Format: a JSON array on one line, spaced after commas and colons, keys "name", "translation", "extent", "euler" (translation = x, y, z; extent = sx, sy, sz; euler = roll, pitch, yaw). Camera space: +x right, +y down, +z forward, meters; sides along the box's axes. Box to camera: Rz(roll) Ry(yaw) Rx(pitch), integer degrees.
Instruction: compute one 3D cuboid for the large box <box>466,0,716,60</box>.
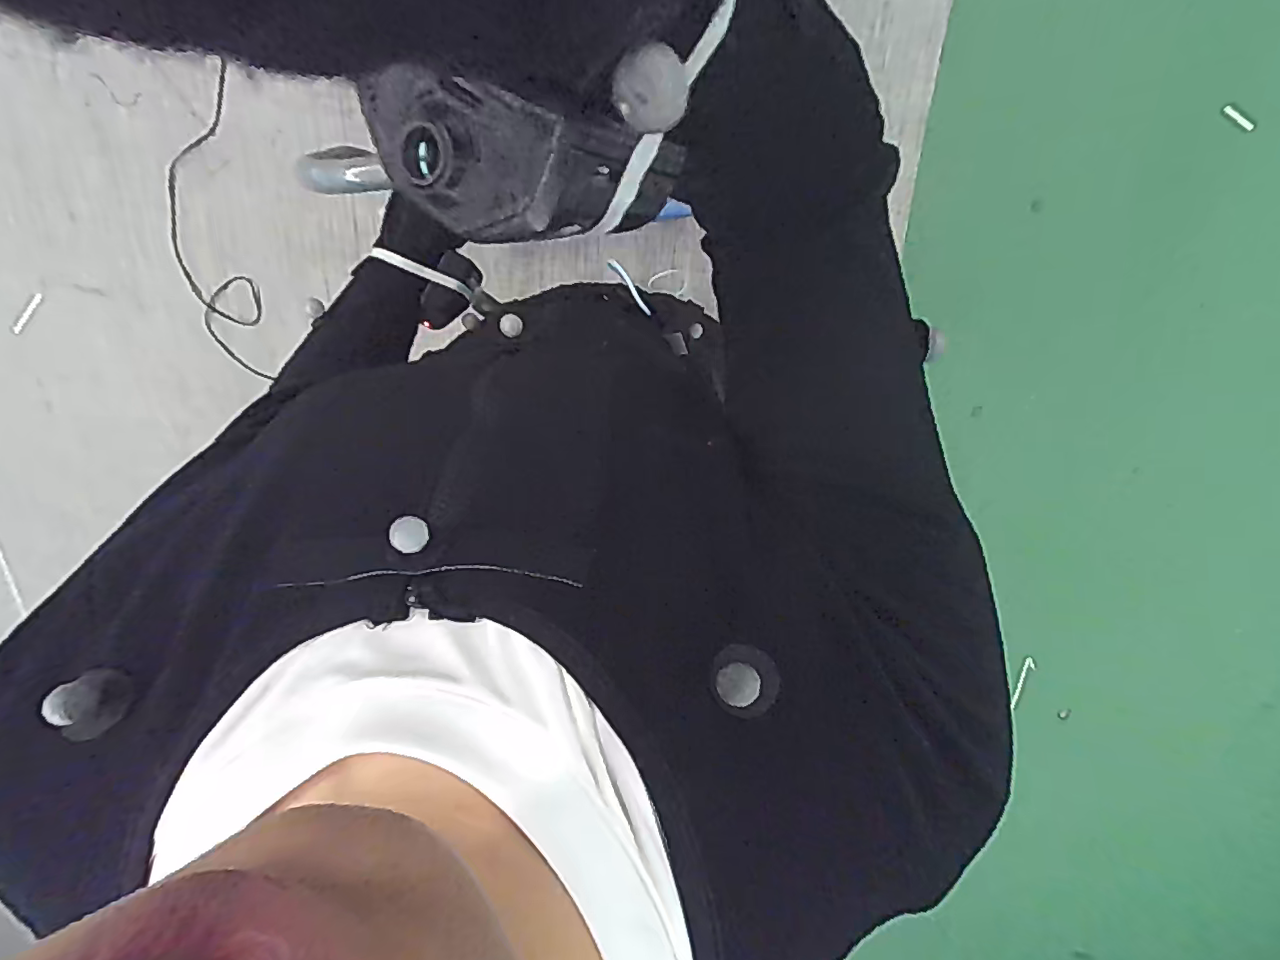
[{"name": "large box", "translation": [-0.085, -0.933, 0.859], "extent": [0.408, 0.320, 0.320], "euler": [-5, 108, 5]}]
